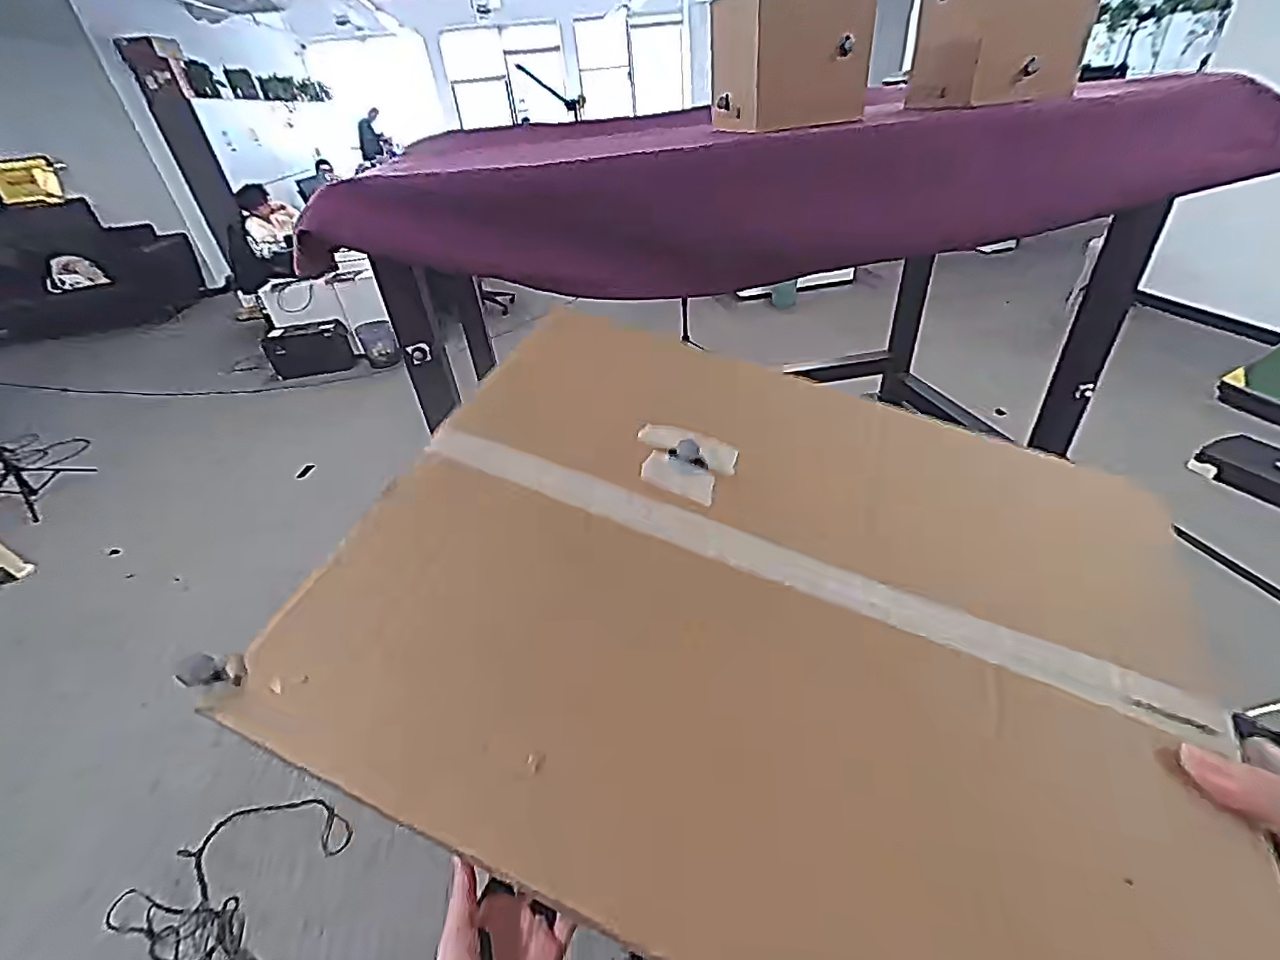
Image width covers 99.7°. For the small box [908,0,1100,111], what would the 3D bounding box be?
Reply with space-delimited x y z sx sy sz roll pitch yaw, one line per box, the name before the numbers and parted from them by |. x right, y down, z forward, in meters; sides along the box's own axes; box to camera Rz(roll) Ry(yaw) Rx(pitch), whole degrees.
small box | 0.537 -0.664 0.809 0.179 0.176 0.168 -10 34 -5

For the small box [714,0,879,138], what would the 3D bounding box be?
small box | 0.218 -0.615 0.795 0.179 0.176 0.168 -14 35 -10

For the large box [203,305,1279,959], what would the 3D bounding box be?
large box | 0.057 0.136 0.382 0.408 0.320 0.320 19 51 10
